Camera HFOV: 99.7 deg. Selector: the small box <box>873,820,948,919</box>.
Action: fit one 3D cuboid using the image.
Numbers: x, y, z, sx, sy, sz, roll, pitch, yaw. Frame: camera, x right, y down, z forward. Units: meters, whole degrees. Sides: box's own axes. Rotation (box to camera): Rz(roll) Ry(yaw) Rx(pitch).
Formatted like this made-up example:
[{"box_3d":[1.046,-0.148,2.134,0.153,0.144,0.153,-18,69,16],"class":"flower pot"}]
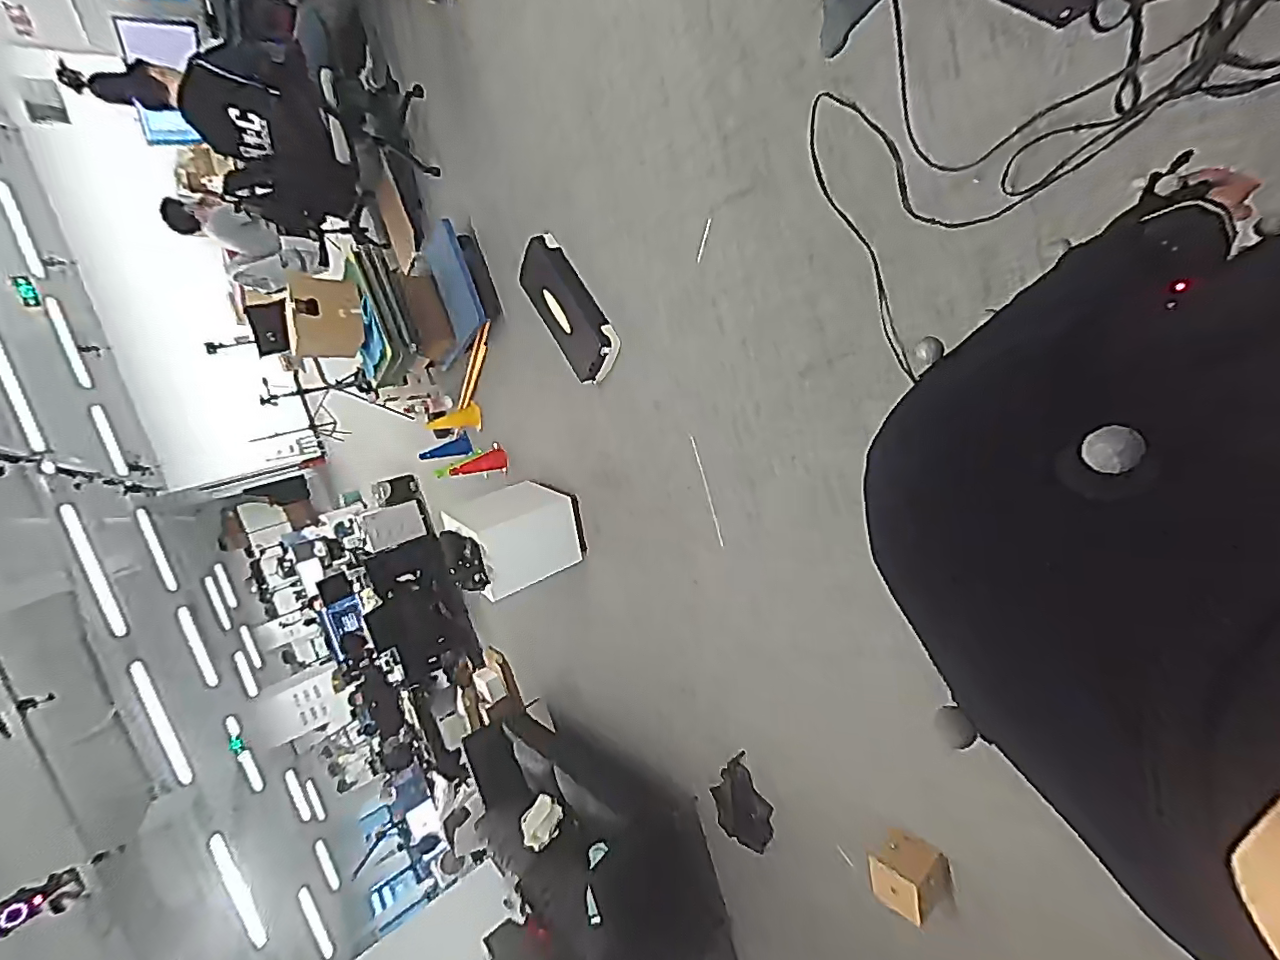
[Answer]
[{"box_3d":[0.917,1.305,1.827,0.168,0.176,0.179,7,115,54],"class":"small box"}]
